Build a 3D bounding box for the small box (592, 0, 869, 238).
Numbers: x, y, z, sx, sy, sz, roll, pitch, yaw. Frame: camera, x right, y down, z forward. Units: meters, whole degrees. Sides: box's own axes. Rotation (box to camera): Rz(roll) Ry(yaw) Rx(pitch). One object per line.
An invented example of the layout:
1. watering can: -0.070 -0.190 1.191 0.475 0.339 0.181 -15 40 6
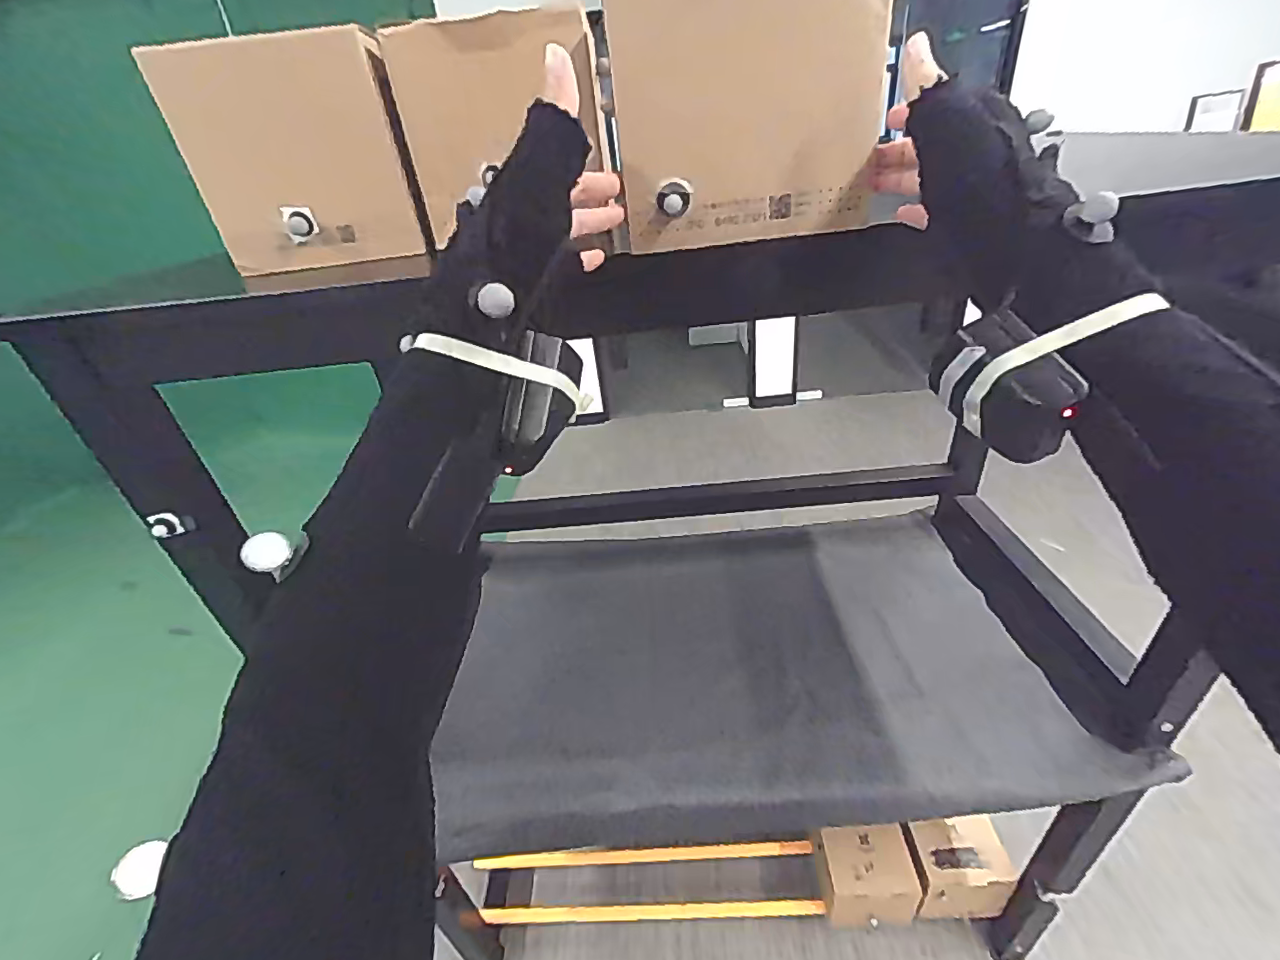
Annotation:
1. small box: 0.062 -0.284 0.404 0.168 0.176 0.179 -4 30 4
